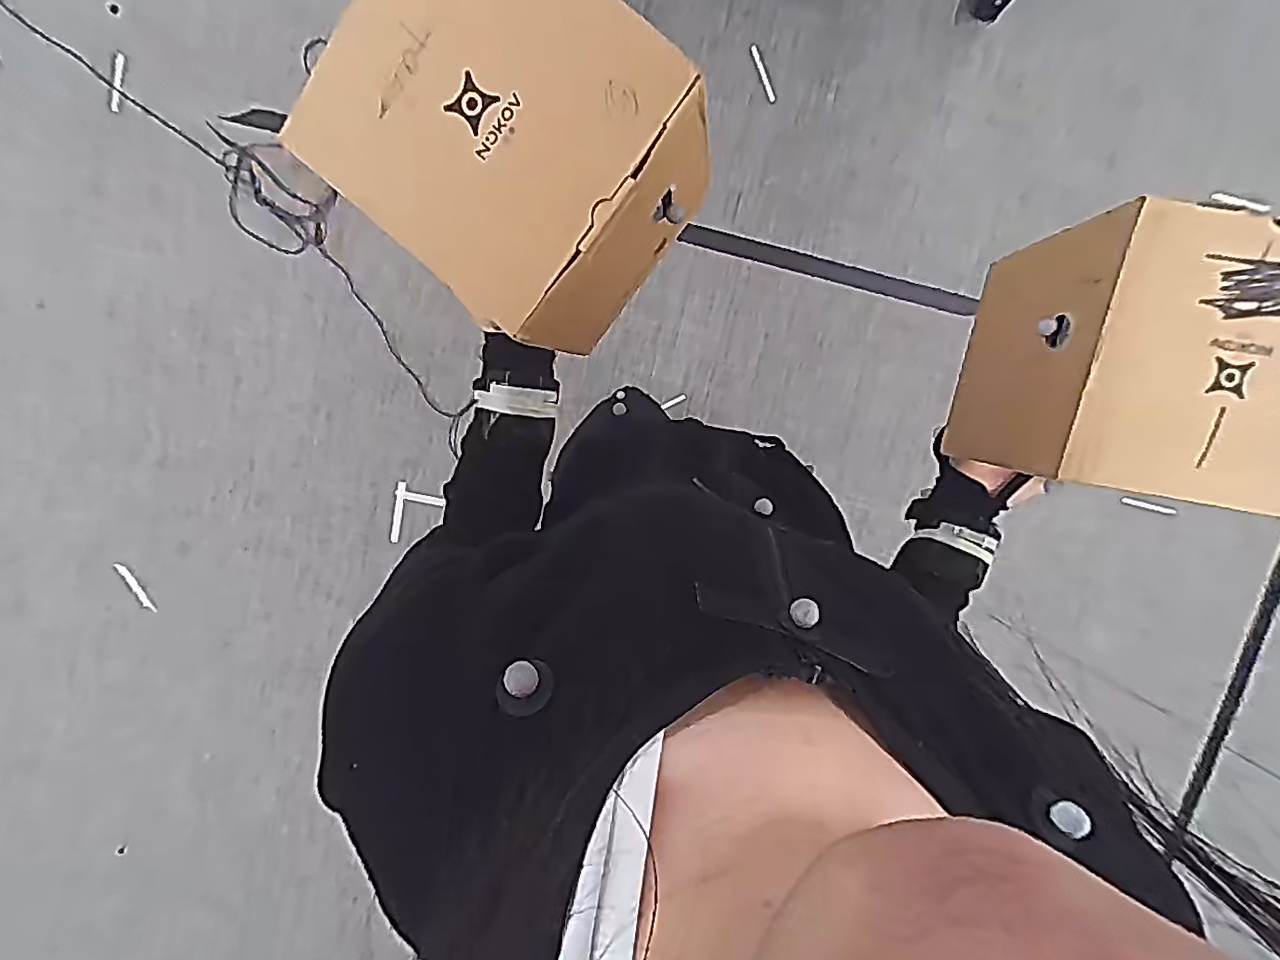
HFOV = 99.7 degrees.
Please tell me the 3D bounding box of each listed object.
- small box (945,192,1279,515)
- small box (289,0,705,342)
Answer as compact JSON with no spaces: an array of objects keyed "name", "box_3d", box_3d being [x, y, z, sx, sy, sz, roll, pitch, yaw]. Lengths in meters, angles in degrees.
[{"name":"small box","box_3d":[0.368,-0.086,0.413,0.168,0.176,0.179,11,100,3]},{"name":"small box","box_3d":[-0.070,-0.209,0.363,0.179,0.176,0.168,39,102,1]}]
